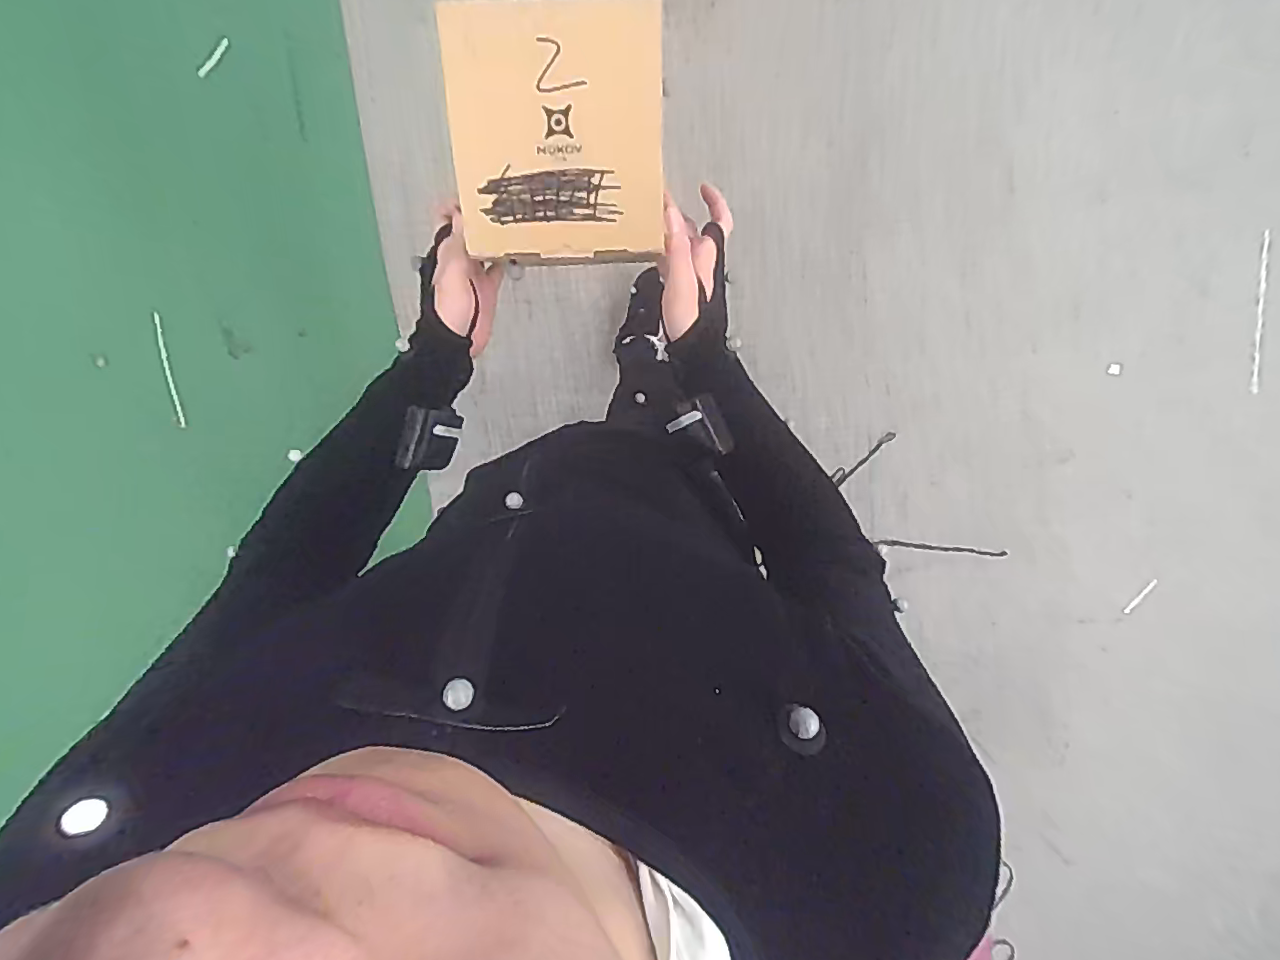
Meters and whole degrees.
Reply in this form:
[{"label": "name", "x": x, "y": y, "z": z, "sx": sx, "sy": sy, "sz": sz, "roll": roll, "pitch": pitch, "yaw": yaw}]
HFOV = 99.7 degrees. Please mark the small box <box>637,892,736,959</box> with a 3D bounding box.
[{"label": "small box", "x": 0.089, "y": 0.877, "z": 0.948, "sx": 0.168, "sy": 0.176, "sz": 0.179, "roll": -9, "pitch": 101, "yaw": 0}]
